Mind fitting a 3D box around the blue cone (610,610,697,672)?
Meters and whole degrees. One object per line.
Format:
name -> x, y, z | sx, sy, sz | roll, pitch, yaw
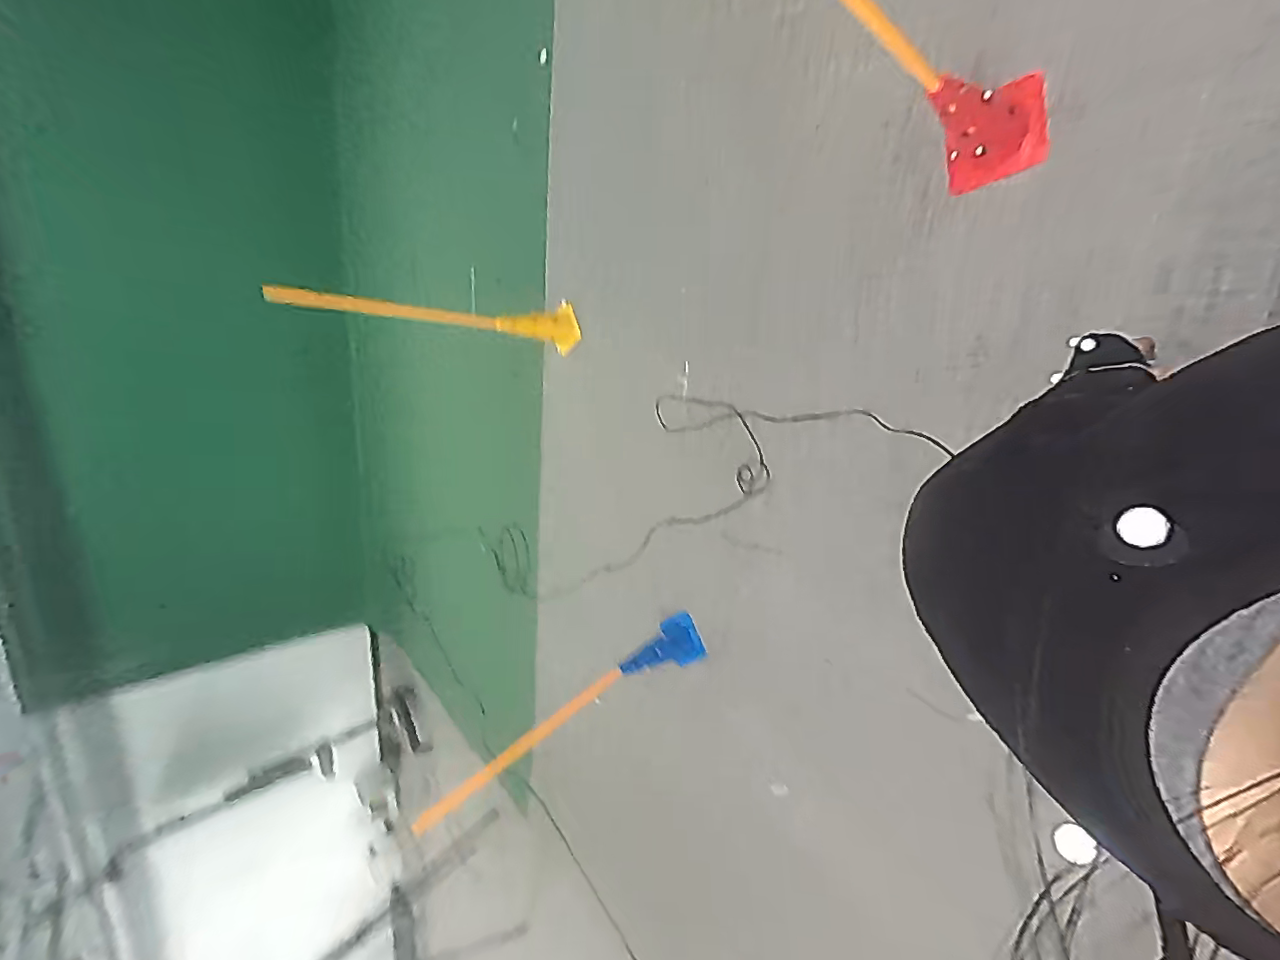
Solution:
blue cone -> 0.037, 0.677, 2.162 | 0.192, 0.380, 0.193 | -41, 69, 43
